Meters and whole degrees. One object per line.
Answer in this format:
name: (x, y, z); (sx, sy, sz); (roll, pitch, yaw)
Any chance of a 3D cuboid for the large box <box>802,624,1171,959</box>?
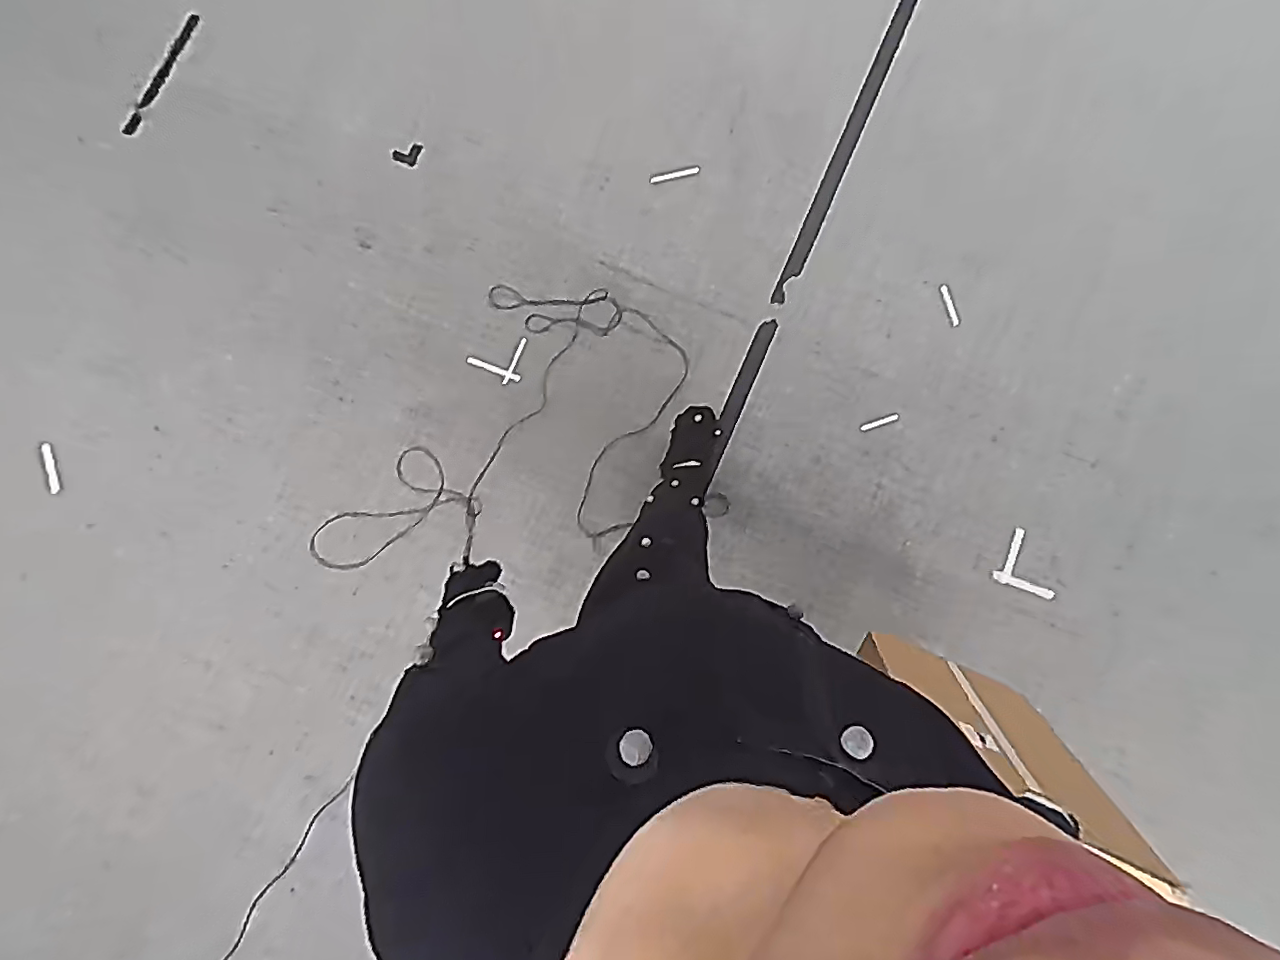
large box: (0.491, 0.516, 0.897); (0.320, 0.408, 0.320); (23, 106, 7)
